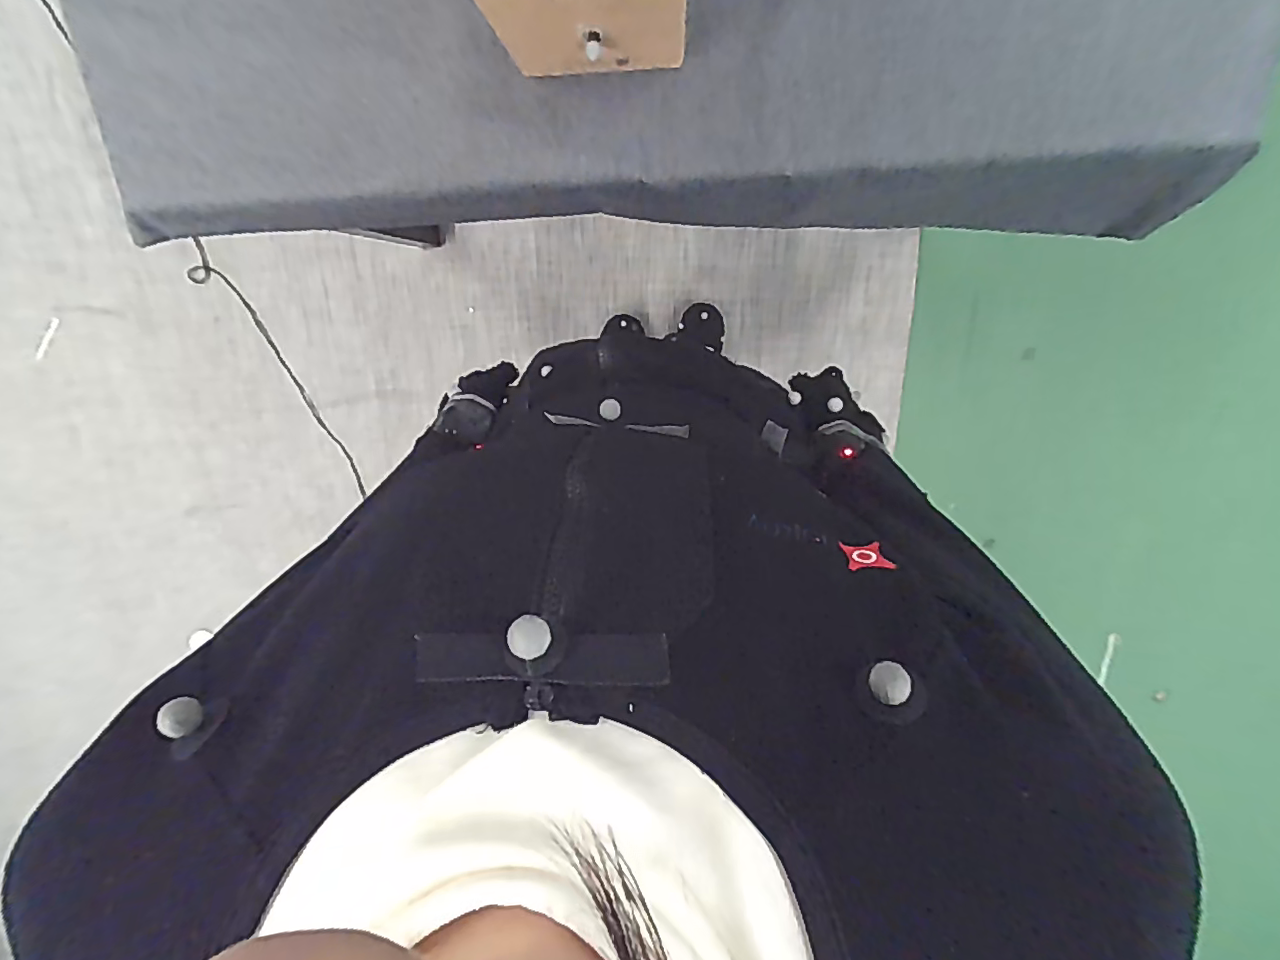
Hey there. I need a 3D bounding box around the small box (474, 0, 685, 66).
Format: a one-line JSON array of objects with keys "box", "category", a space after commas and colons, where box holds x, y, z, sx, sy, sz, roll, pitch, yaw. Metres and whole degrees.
[{"box": [-0.045, -0.475, 0.450, 0.168, 0.176, 0.179, -1, 109, 4], "category": "small box"}]
